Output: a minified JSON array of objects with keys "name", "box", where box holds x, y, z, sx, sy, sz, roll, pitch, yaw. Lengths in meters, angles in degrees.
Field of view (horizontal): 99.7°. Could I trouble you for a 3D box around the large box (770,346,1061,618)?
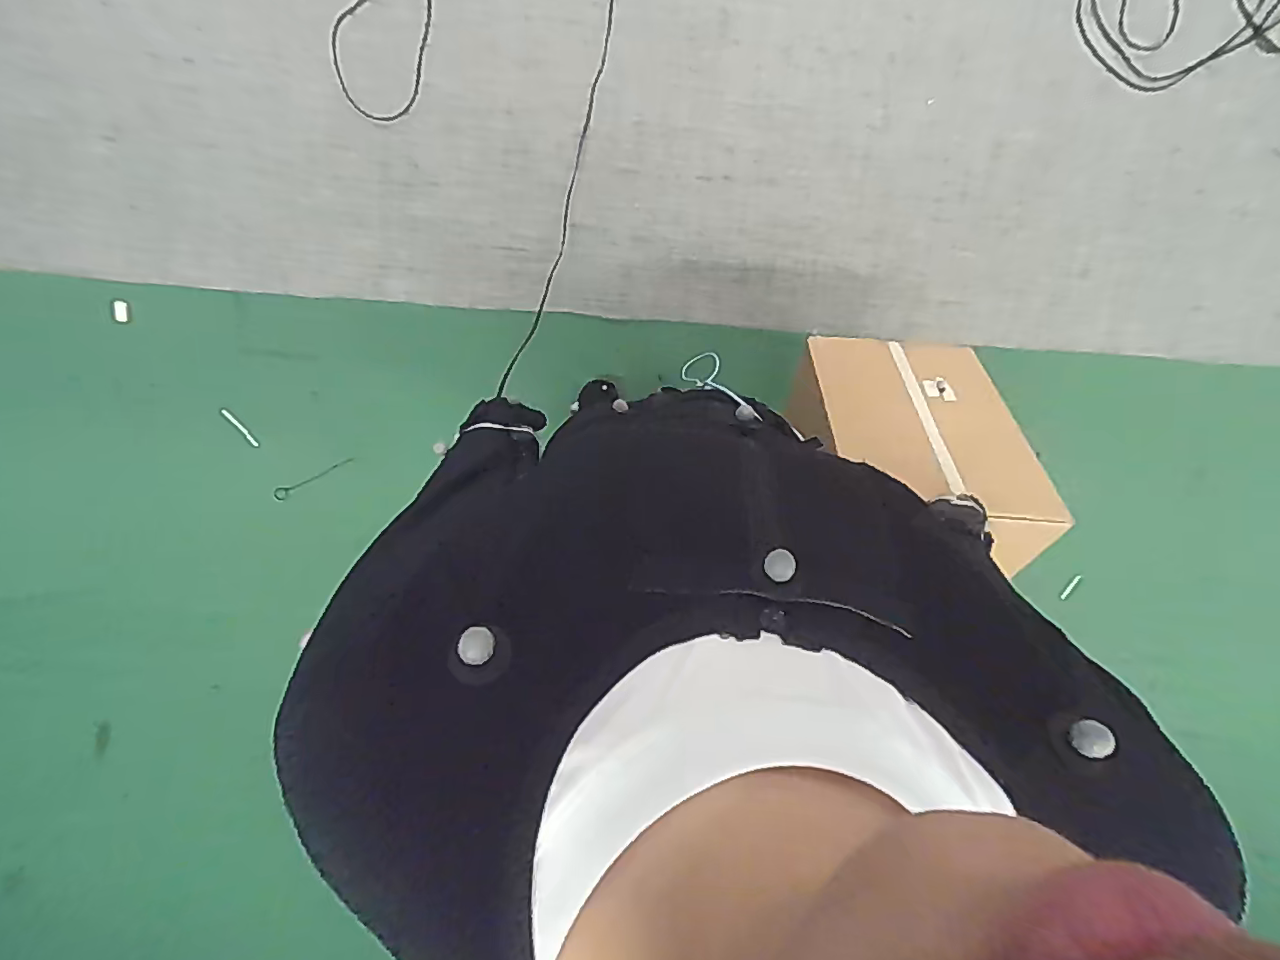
[{"name":"large box","box":[0.446,0.004,1.002,0.320,0.408,0.320,5,139,-2]}]
